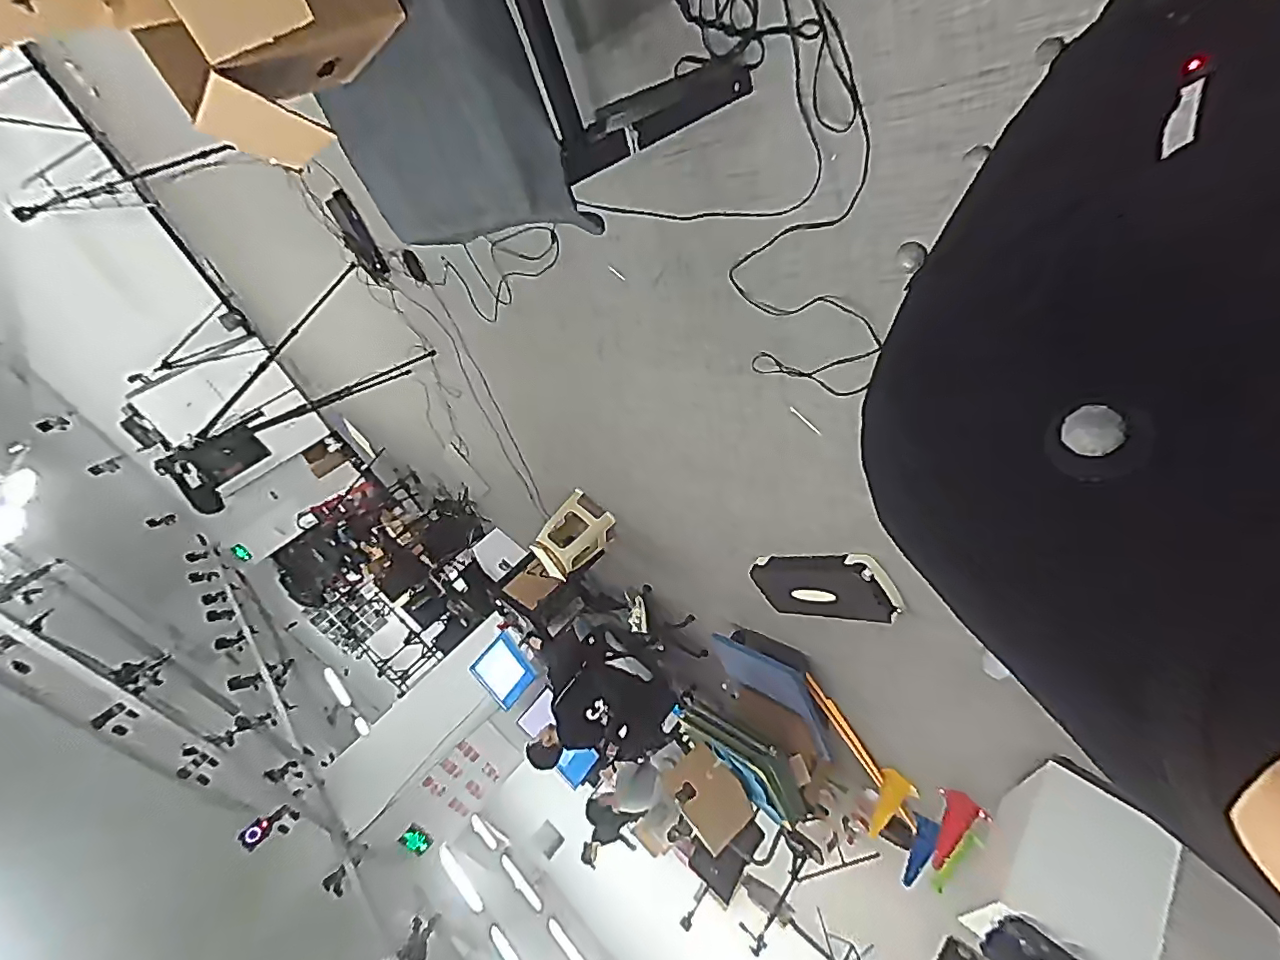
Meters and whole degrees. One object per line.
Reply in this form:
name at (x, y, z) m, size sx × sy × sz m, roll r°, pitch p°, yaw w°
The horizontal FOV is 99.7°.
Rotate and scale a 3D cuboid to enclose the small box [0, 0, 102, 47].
small box at (-0.801, -0.659, 0.644) m, size 0.179 × 0.176 × 0.168 m, roll 14°, pitch 137°, yaw 47°
